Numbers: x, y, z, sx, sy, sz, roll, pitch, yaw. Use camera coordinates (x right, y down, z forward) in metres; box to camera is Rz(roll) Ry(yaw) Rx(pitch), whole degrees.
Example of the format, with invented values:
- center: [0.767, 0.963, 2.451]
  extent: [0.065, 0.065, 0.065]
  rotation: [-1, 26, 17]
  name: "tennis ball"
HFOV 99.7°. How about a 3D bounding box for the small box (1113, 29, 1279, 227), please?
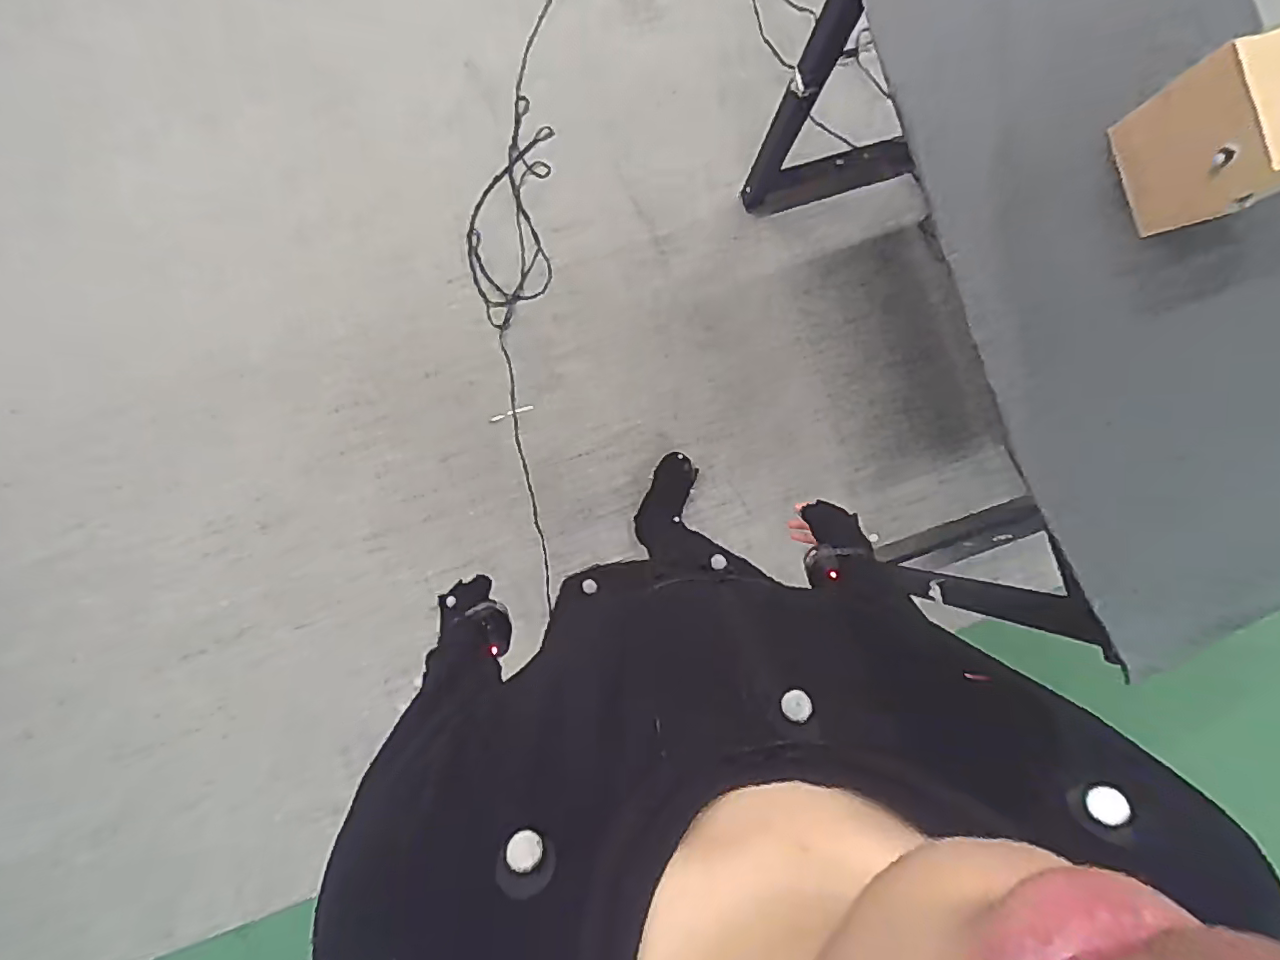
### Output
- center: [0.821, -0.476, 0.749]
  extent: [0.168, 0.176, 0.179]
  rotation: [-16, 88, -5]
  name: "small box"
